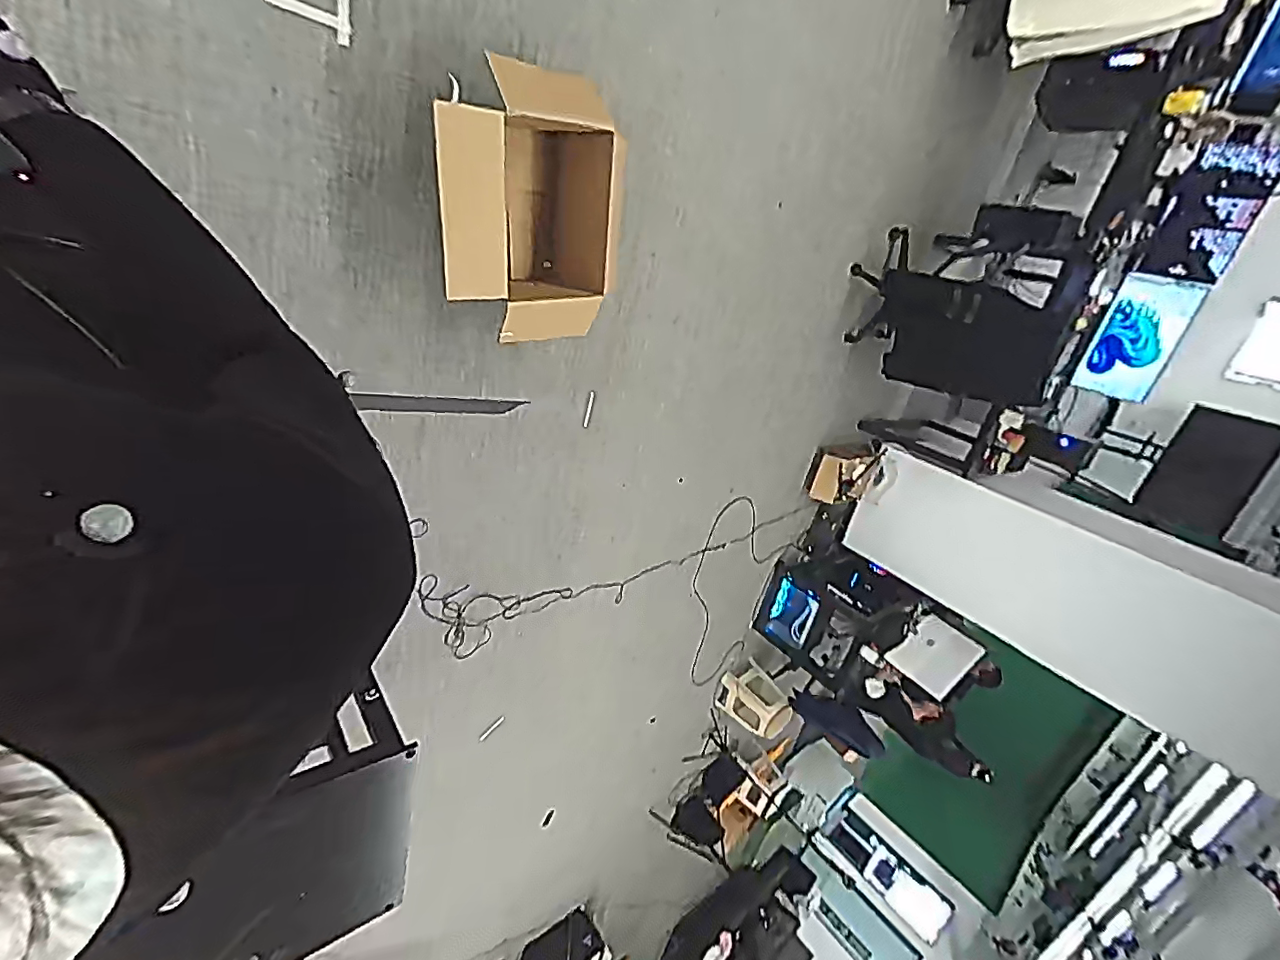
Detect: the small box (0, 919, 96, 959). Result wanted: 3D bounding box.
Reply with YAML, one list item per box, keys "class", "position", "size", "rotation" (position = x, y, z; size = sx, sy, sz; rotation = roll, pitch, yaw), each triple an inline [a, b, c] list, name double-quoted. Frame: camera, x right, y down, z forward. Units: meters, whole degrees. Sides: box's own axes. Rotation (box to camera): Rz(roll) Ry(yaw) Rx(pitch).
- class: "small box"
  position: [-0.982, 0.849, 0.838]
  size: [0.179, 0.176, 0.168]
  rotation: [10, 109, -47]
